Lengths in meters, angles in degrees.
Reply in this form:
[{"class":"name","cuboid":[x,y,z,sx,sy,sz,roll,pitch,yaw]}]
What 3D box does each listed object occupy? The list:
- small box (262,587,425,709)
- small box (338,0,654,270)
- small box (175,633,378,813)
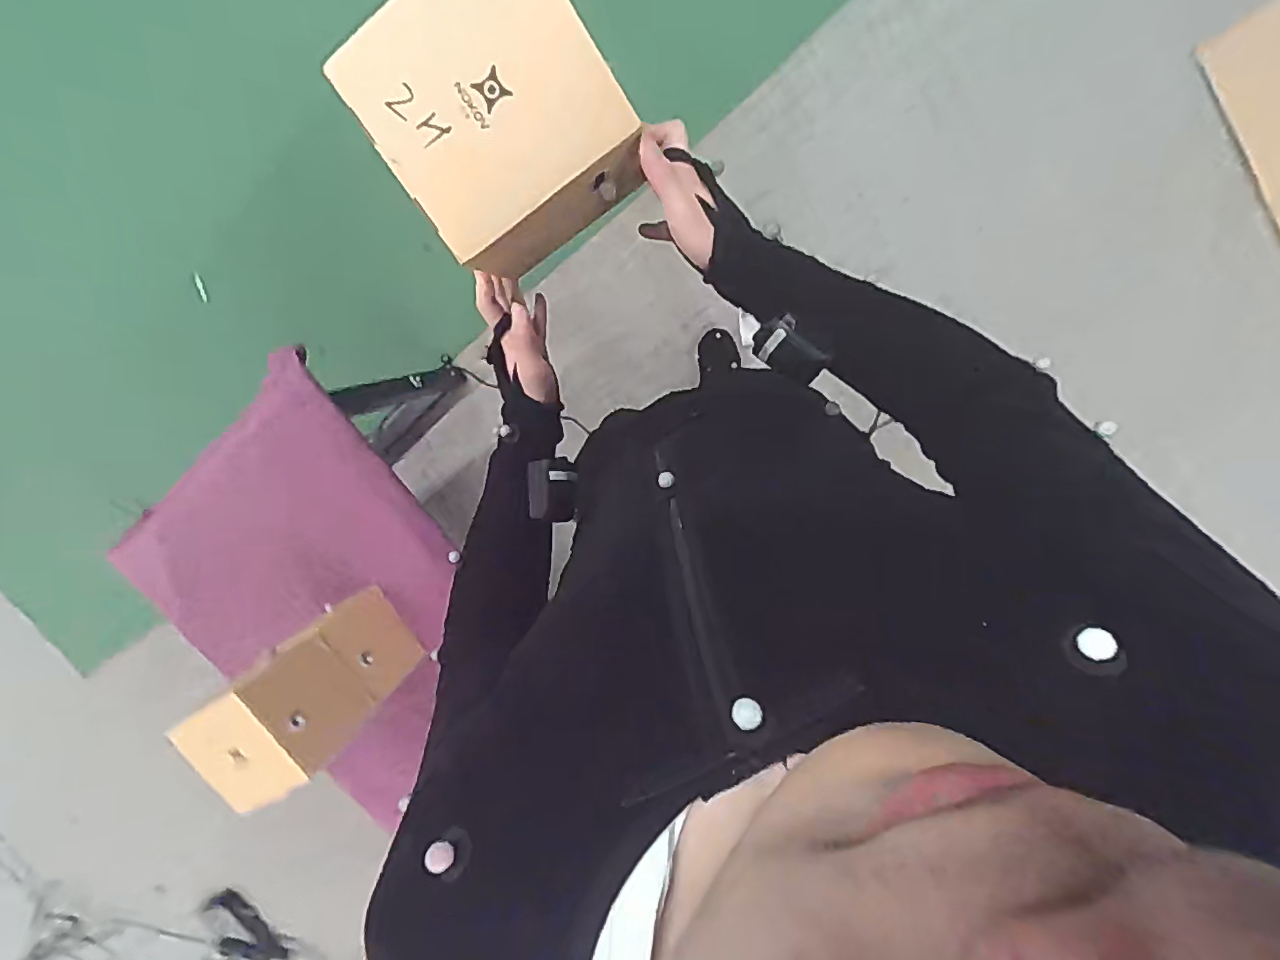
[{"class":"small box","cuboid":[-0.551,0.337,1.031,0.168,0.176,0.179,-29,100,16]},{"class":"small box","cuboid":[-0.102,-0.305,0.469,0.179,0.176,0.168,-31,102,11]},{"class":"small box","cuboid":[-0.572,0.385,0.877,0.168,0.176,0.179,-30,100,16]}]
